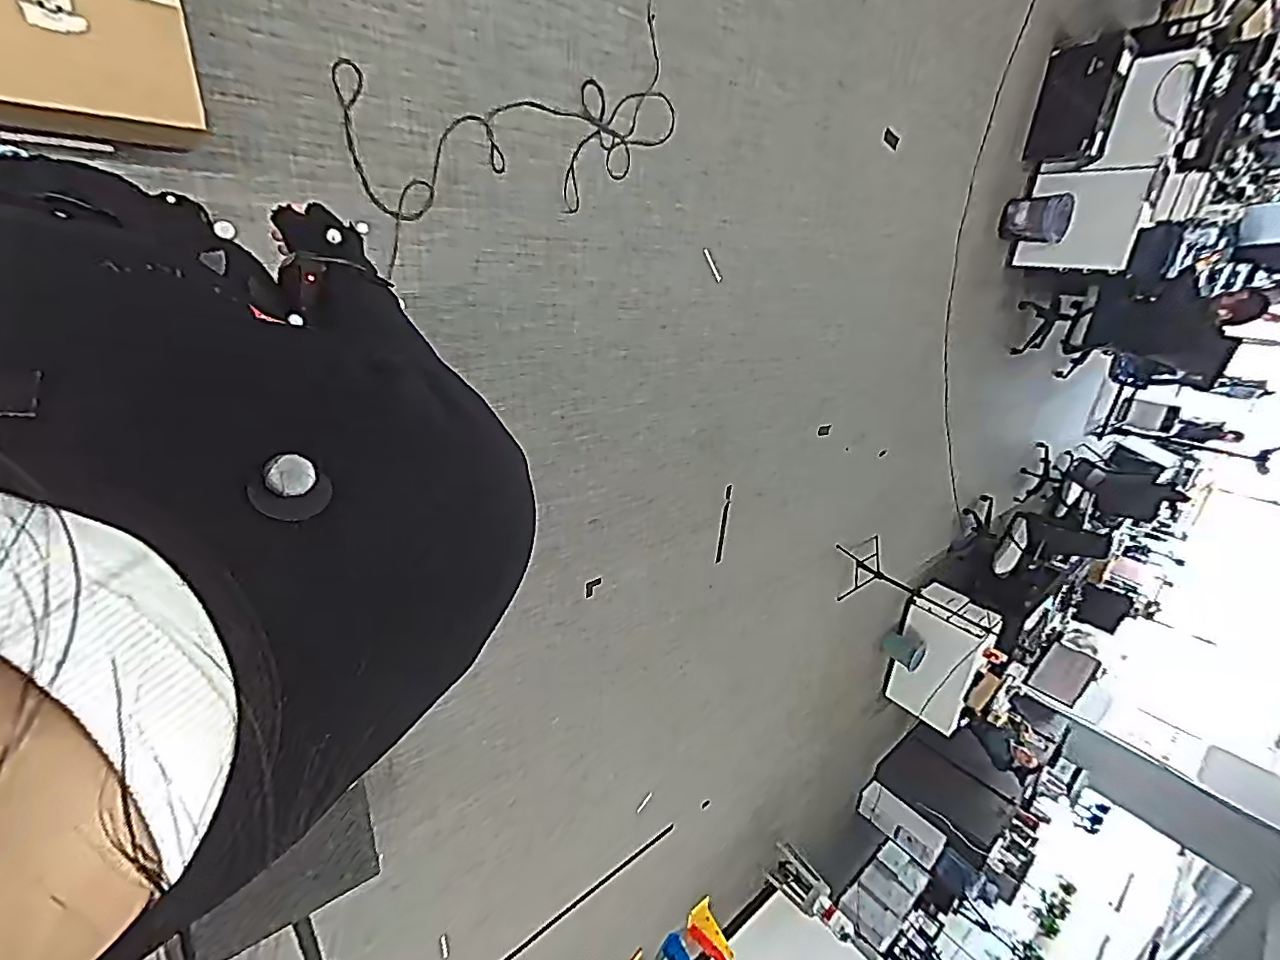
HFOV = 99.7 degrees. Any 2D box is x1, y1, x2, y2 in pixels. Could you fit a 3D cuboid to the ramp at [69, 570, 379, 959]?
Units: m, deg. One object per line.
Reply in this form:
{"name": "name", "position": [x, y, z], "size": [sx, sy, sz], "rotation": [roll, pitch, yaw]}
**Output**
{"name": "ramp", "position": [-1.013, 0.759, 1.405], "size": [0.509, 0.206, 0.991], "rotation": [-14, 118, -36]}

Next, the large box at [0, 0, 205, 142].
{"name": "large box", "position": [-0.896, -0.684, 0.740], "size": [0.408, 0.320, 0.320], "rotation": [-15, 120, -37]}
